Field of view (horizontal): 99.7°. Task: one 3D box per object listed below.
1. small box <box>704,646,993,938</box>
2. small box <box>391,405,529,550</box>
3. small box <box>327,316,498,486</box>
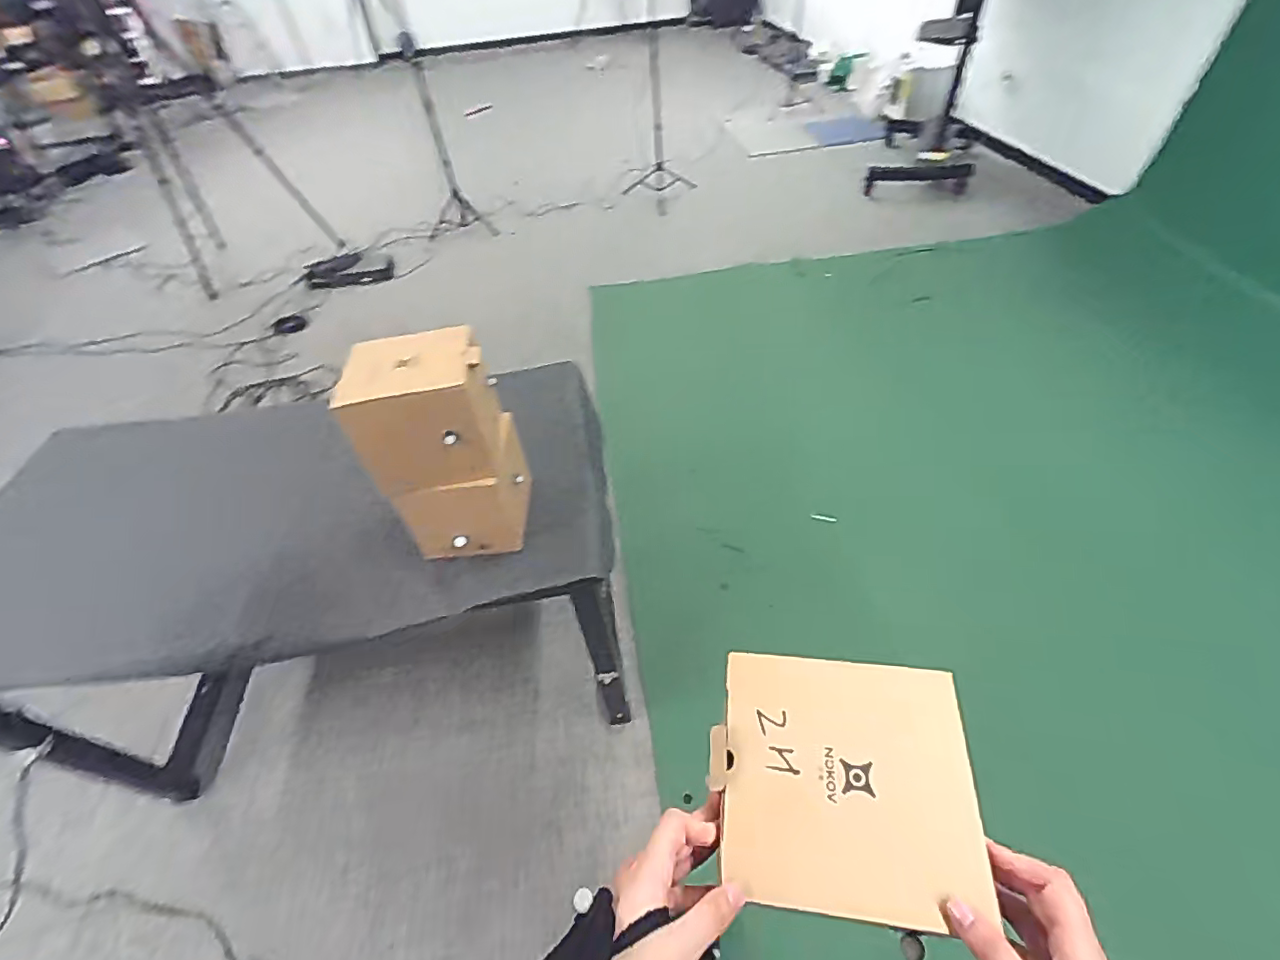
[{"bbox_3d":[0.146,0.251,0.445,0.179,0.176,0.168,1,53,10],"label":"small box"},{"bbox_3d":[-0.292,-0.003,0.916,0.168,0.176,0.179,-5,47,2],"label":"small box"},{"bbox_3d":[-0.316,-0.114,0.799,0.179,0.176,0.168,-12,45,-2],"label":"small box"}]
